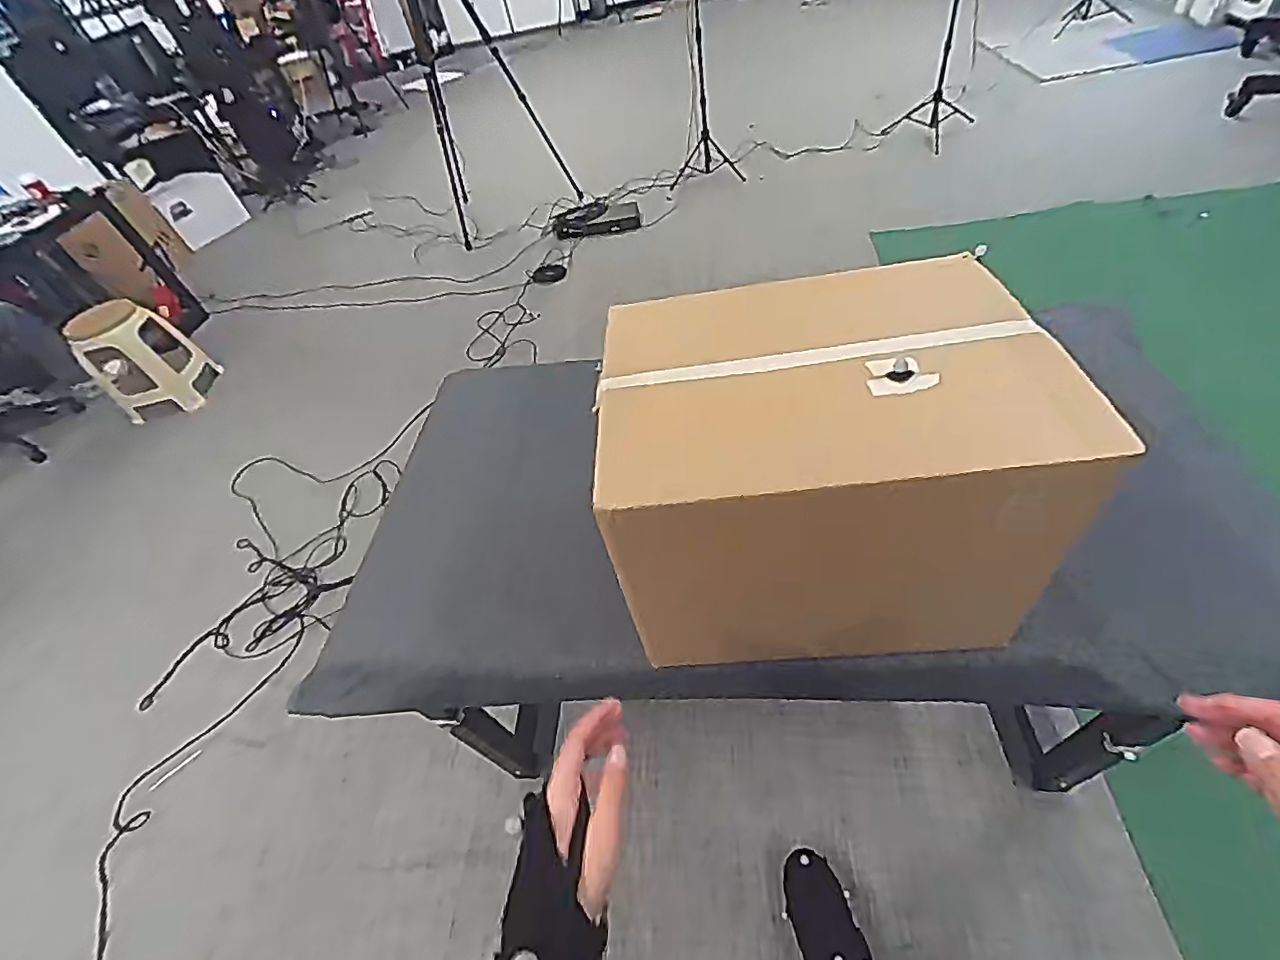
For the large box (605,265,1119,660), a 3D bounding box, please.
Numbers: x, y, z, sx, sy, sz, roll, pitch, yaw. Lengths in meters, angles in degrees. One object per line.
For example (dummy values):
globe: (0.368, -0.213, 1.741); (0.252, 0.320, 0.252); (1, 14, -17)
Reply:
large box: (0.185, -0.010, 0.631); (0.408, 0.320, 0.320); (-5, 48, 6)
